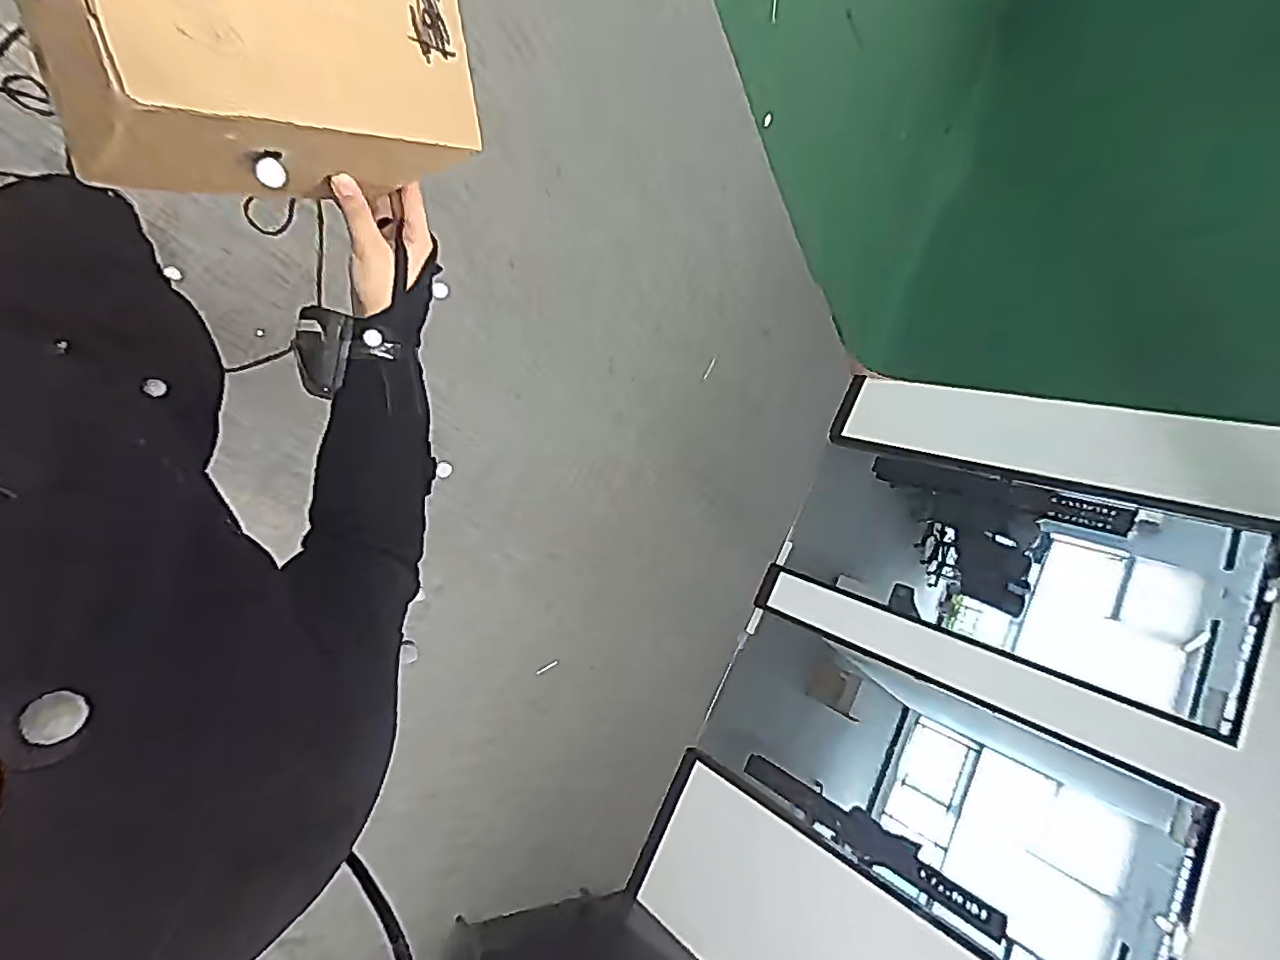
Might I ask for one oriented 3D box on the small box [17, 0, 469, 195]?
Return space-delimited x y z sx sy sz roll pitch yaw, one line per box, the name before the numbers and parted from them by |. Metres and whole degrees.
small box | -0.231 -0.271 0.308 0.179 0.176 0.168 -25 117 -44
